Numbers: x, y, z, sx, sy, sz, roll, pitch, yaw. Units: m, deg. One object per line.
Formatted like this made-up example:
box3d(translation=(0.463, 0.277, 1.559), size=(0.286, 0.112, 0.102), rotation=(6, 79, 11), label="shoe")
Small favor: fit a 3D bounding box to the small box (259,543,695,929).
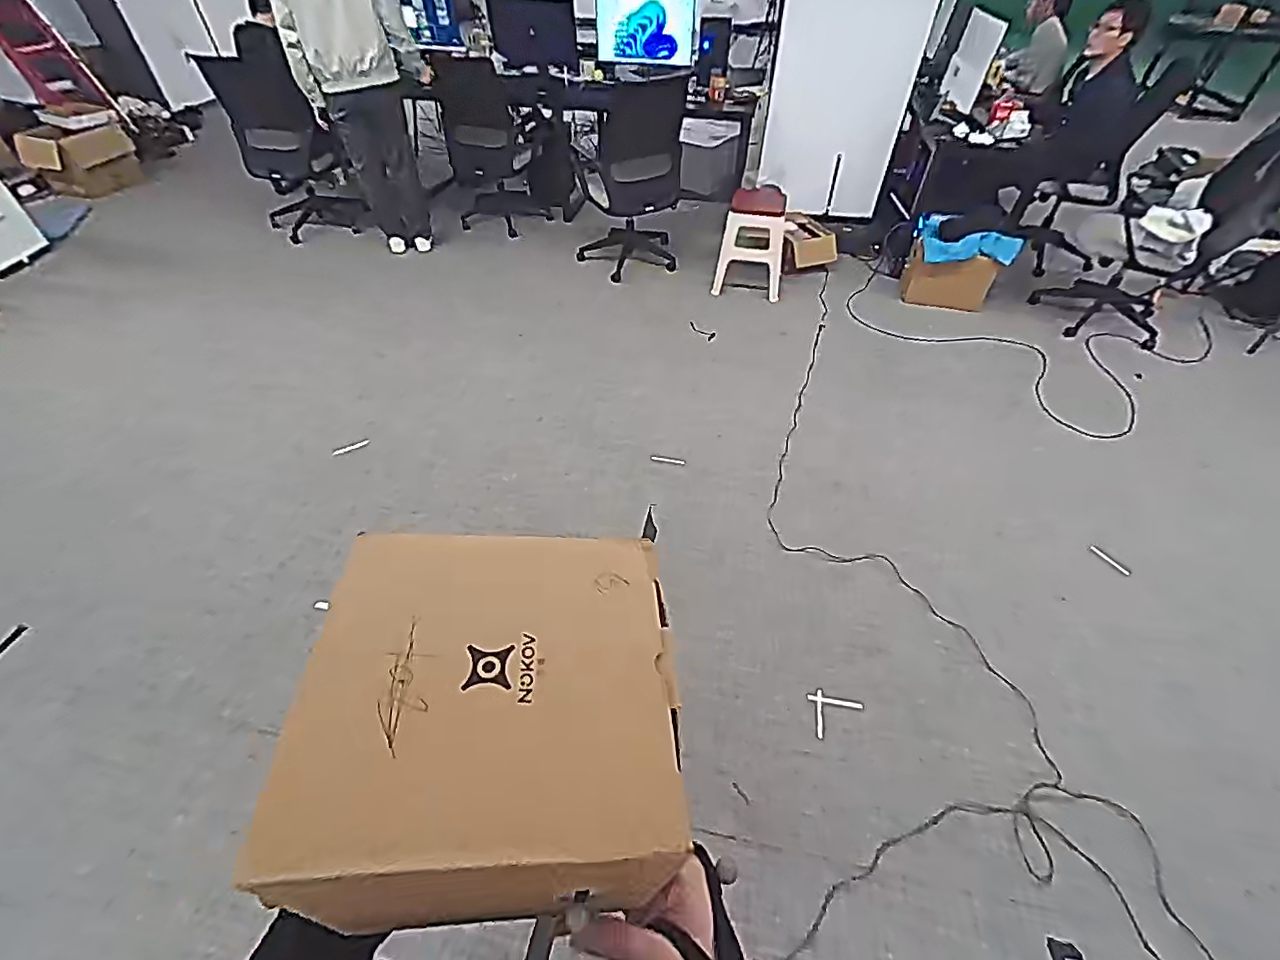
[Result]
box3d(translation=(-0.079, 0.156, 0.330), size=(0.179, 0.176, 0.168), rotation=(2, 45, -9), label="small box")
